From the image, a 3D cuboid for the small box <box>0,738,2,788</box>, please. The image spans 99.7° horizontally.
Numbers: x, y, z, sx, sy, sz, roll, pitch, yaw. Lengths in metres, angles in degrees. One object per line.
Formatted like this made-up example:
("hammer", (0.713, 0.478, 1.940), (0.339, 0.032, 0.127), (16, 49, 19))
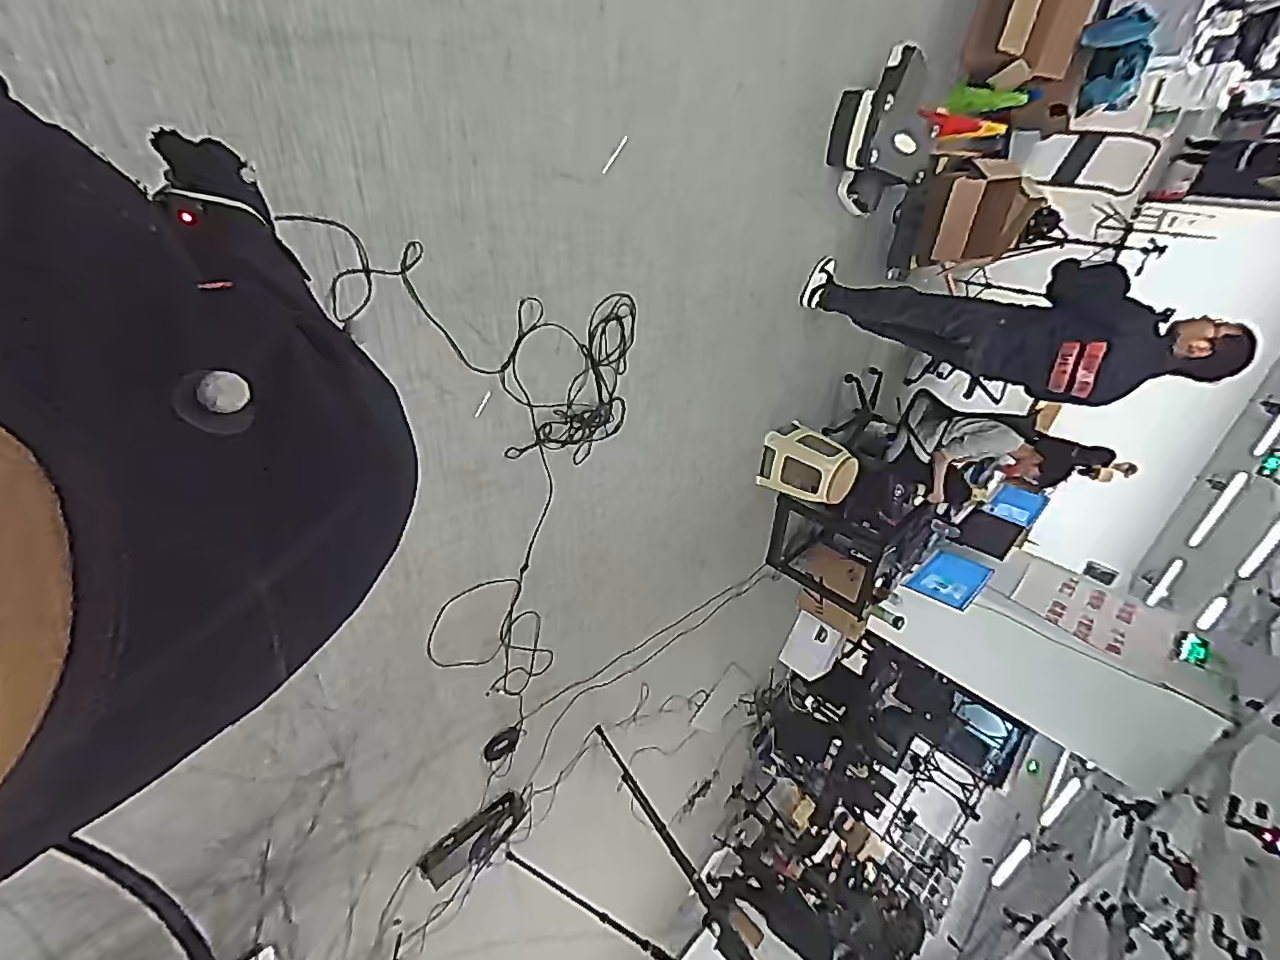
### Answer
("small box", (-1.412, 0.559, 1.058), (0.168, 0.176, 0.179), (-23, 129, -37))
